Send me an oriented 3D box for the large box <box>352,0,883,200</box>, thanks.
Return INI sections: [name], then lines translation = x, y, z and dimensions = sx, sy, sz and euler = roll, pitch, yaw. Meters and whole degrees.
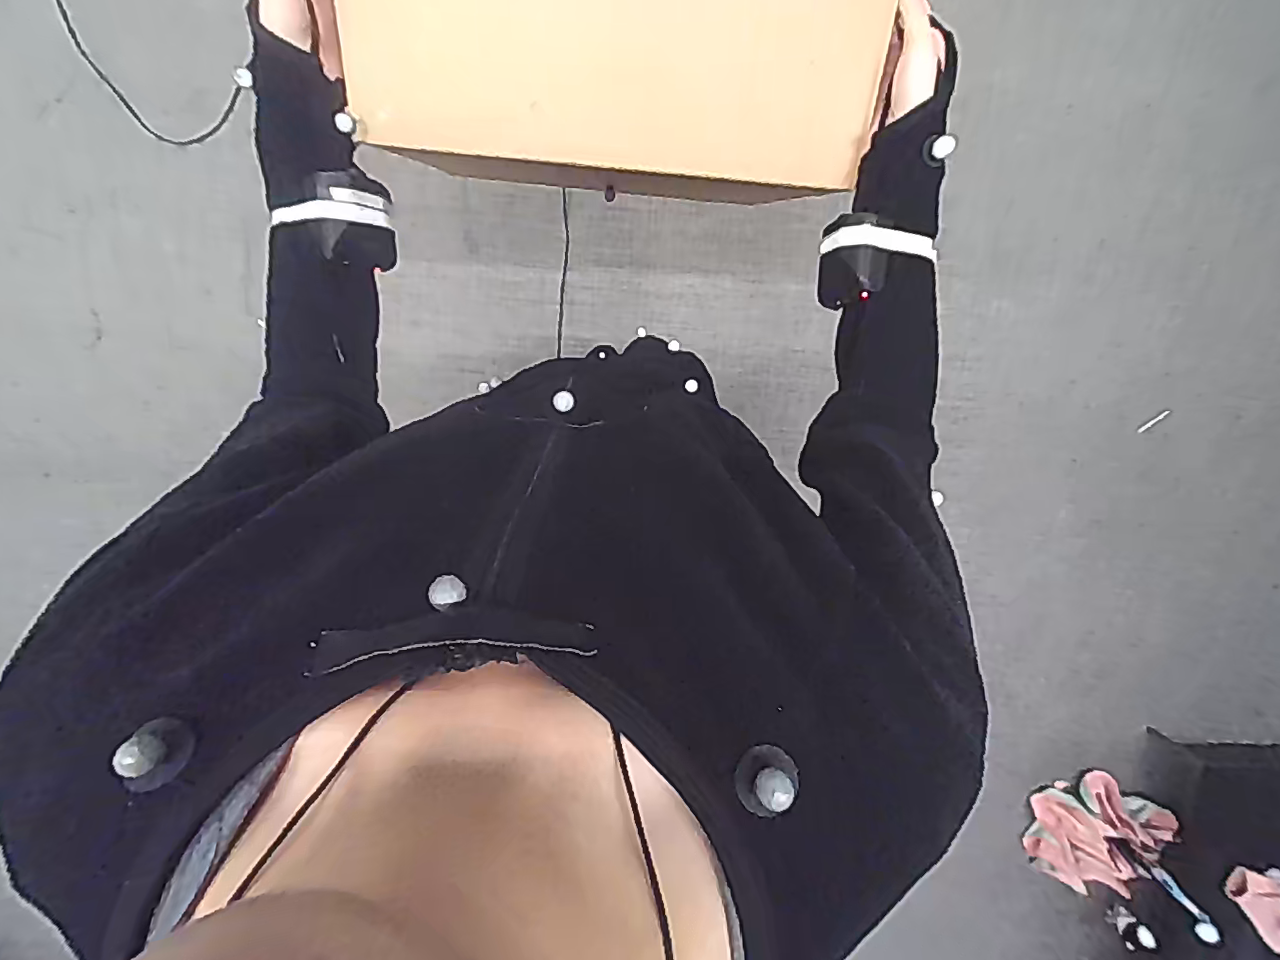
[large box]
translation = -0.017, -0.457, 0.521
dimensions = 0.408, 0.320, 0.320
euler = 2, 114, -5
